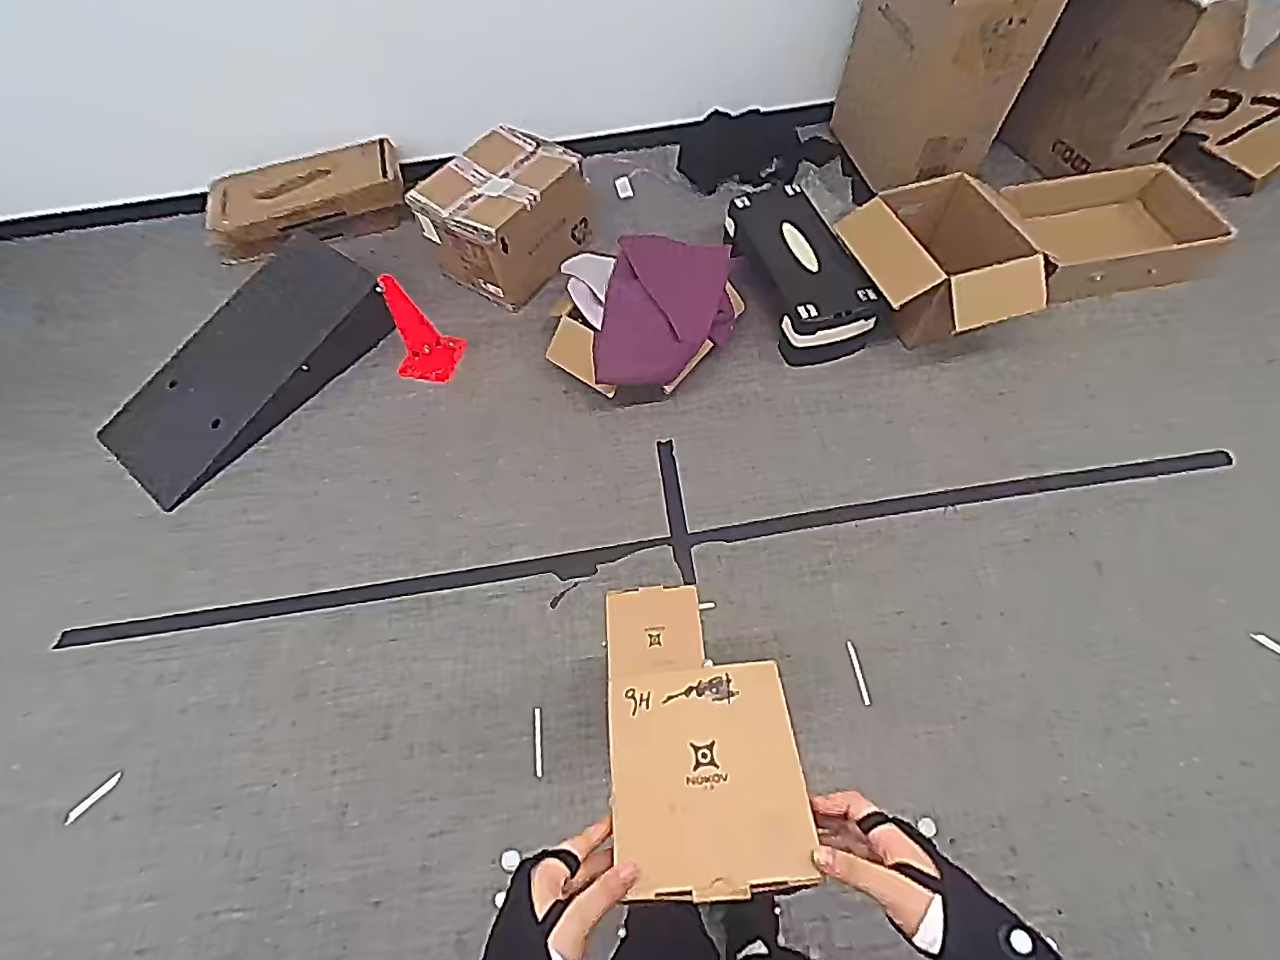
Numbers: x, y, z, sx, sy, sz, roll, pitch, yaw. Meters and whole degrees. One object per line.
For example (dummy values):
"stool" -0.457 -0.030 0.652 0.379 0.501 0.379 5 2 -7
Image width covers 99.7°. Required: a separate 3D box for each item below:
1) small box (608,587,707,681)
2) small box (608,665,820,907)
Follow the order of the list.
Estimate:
"small box" 0.031 0.310 0.992 0.168 0.176 0.179 -5 62 2
"small box" 0.062 0.301 0.531 0.168 0.176 0.179 -6 52 1
